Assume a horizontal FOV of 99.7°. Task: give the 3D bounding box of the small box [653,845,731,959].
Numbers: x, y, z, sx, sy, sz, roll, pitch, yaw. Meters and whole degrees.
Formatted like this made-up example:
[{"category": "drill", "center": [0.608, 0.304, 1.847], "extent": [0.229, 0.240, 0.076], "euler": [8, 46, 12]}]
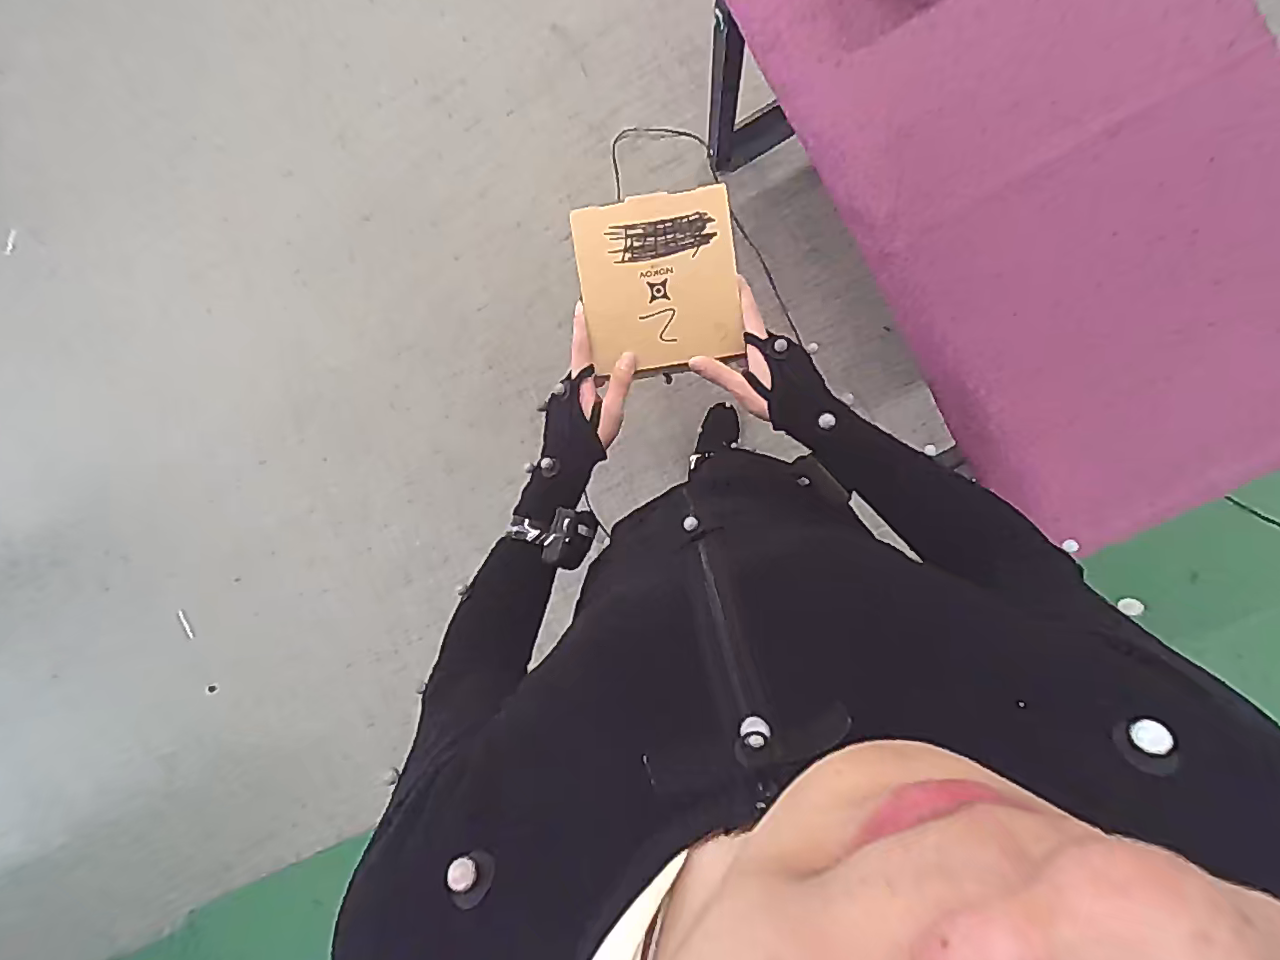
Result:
[{"category": "small box", "center": [0.150, 1.217, 1.568], "extent": [0.168, 0.176, 0.179], "euler": [-25, 89, 5]}]
